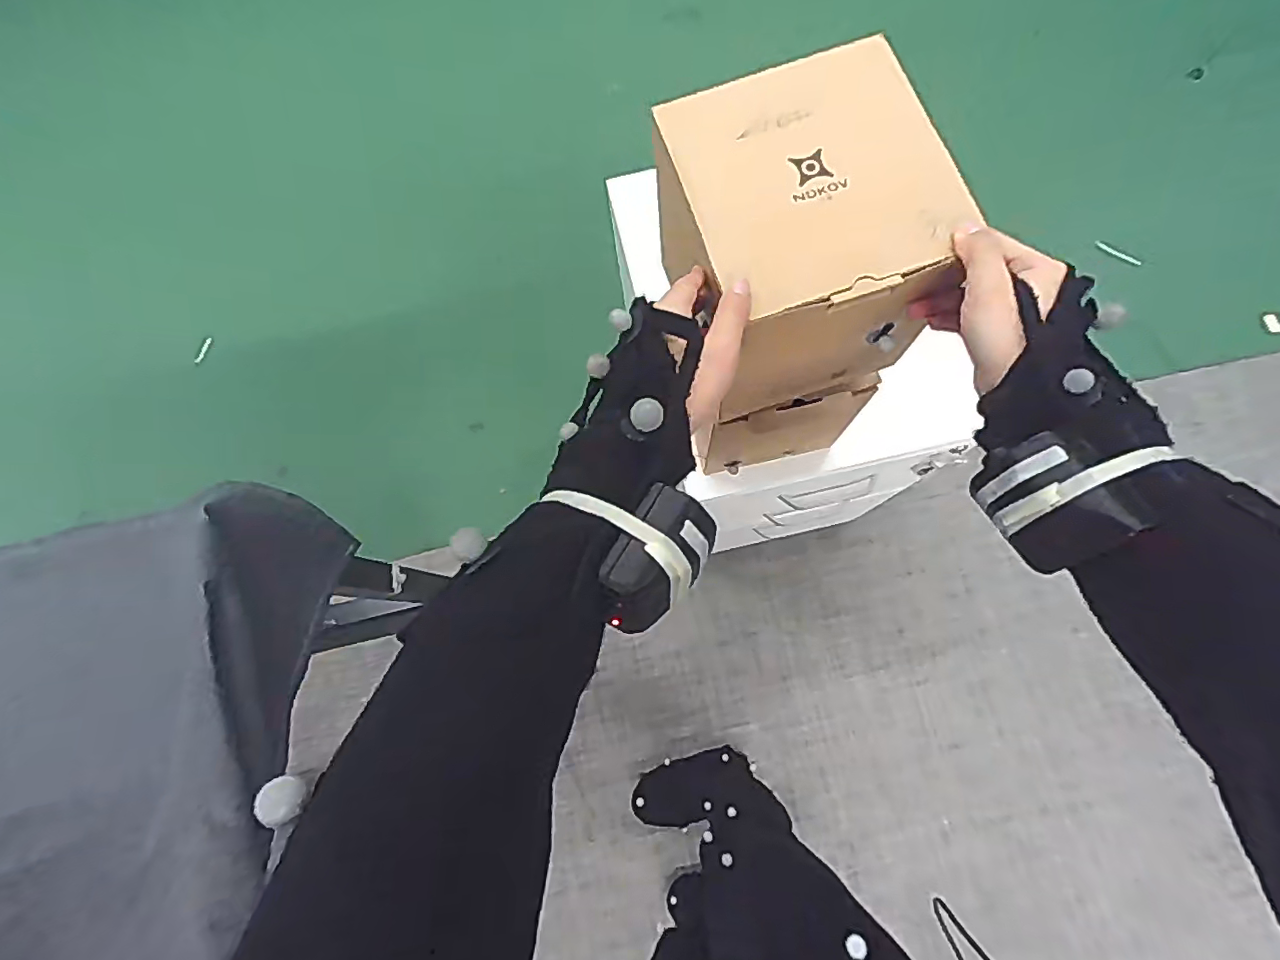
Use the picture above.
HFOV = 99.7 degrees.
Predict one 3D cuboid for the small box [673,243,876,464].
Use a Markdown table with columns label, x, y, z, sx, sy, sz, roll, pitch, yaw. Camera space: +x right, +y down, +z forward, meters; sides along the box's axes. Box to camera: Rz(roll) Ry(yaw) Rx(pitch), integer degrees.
| label | x | y | z | sx | sy | sz | roll | pitch | yaw |
| --- | --- | --- | --- | --- | --- | --- | --- | --- | --- |
| small box | 0.135 | -0.128 | 0.614 | 0.168 | 0.176 | 0.179 | -12 | 73 | -1 |
